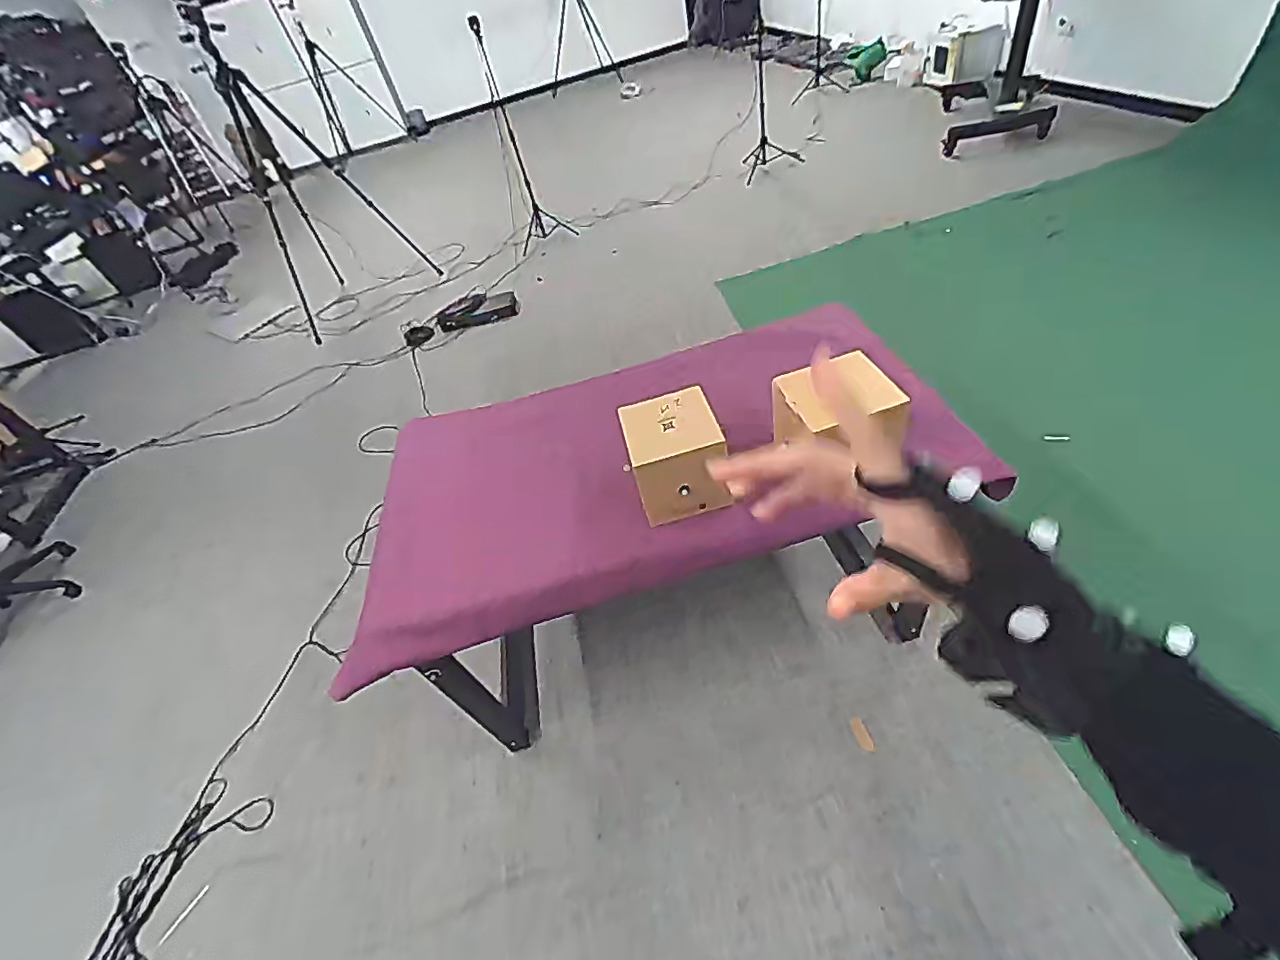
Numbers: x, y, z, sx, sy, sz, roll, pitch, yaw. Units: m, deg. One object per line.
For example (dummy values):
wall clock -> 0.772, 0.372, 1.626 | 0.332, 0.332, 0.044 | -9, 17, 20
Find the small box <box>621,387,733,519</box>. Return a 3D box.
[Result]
small box -> 0.072, -0.044, 1.034 | 0.168, 0.176, 0.179 | -16, 44, 1

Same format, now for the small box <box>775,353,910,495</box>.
small box -> 0.365, -0.101, 1.003 | 0.179, 0.176, 0.168 | -19, 46, 0
